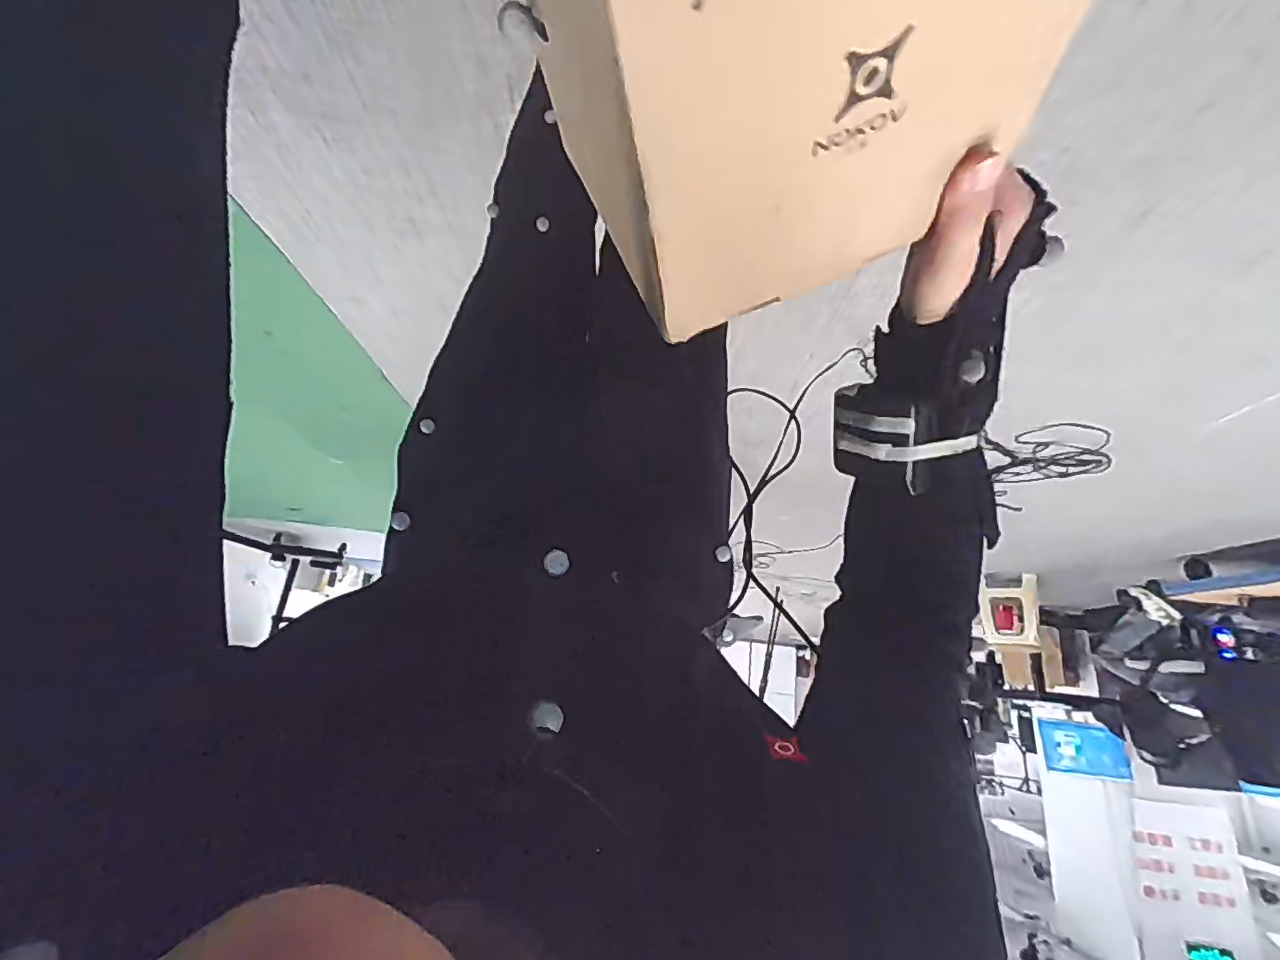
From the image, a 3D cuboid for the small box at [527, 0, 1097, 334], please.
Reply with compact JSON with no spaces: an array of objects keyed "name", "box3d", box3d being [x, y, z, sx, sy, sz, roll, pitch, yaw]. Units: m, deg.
[{"name":"small box","box3d":[0.050,-0.200,0.218,0.168,0.176,0.179,-23,157,-1]}]
